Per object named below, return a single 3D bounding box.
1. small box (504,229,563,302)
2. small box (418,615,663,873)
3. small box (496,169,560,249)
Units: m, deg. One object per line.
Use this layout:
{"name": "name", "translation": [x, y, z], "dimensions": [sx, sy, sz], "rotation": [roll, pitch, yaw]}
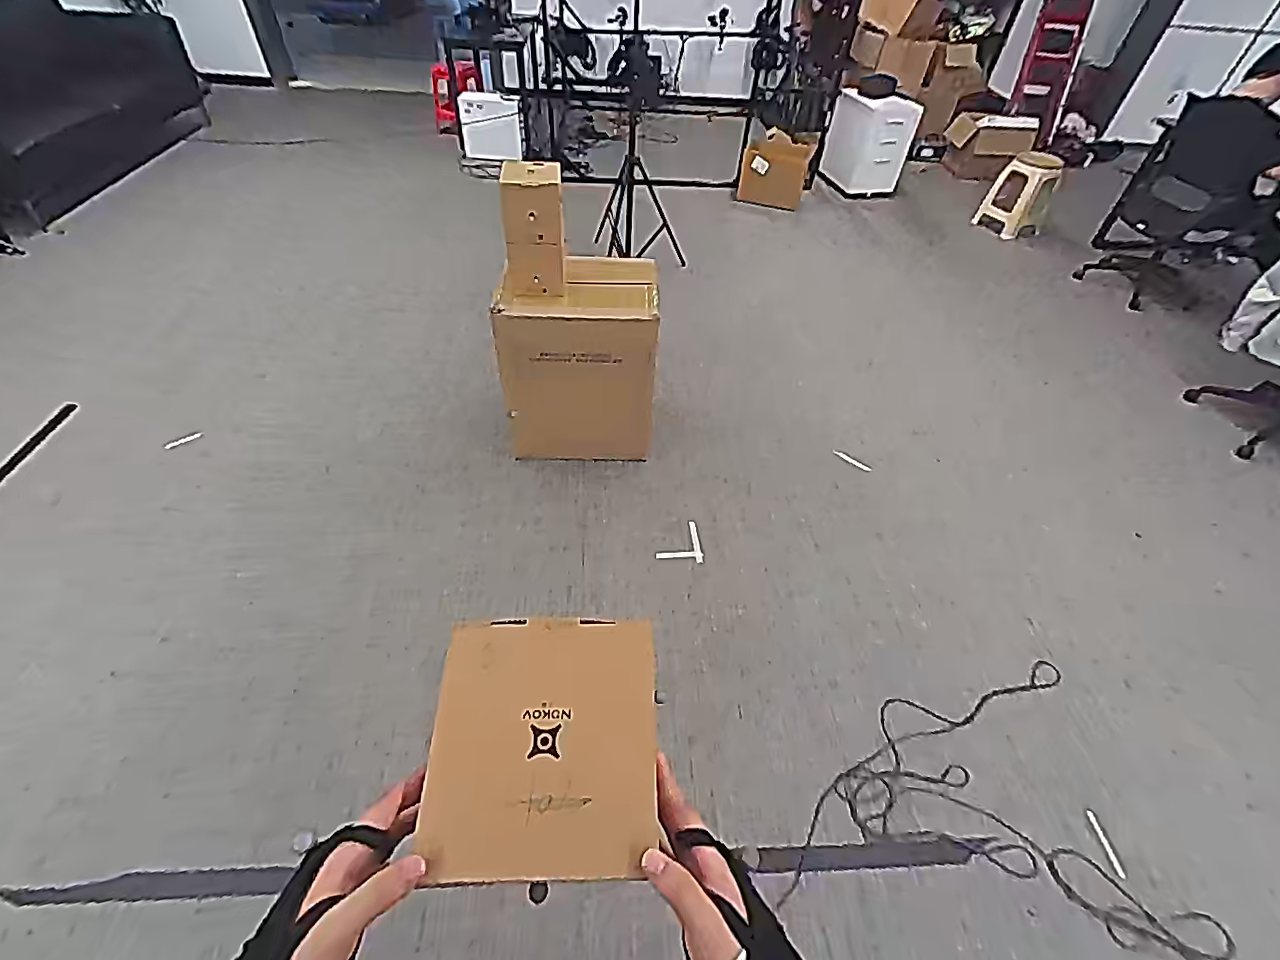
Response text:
{"name": "small box", "translation": [-0.333, -0.688, 1.722], "dimensions": [0.168, 0.176, 0.179], "rotation": [-1, 48, -5]}
{"name": "small box", "translation": [-0.069, 0.231, 0.469], "dimensions": [0.168, 0.176, 0.179], "rotation": [0, 56, -2]}
{"name": "small box", "translation": [-0.325, -0.801, 1.603], "dimensions": [0.168, 0.176, 0.179], "rotation": [-2, 48, -7]}
